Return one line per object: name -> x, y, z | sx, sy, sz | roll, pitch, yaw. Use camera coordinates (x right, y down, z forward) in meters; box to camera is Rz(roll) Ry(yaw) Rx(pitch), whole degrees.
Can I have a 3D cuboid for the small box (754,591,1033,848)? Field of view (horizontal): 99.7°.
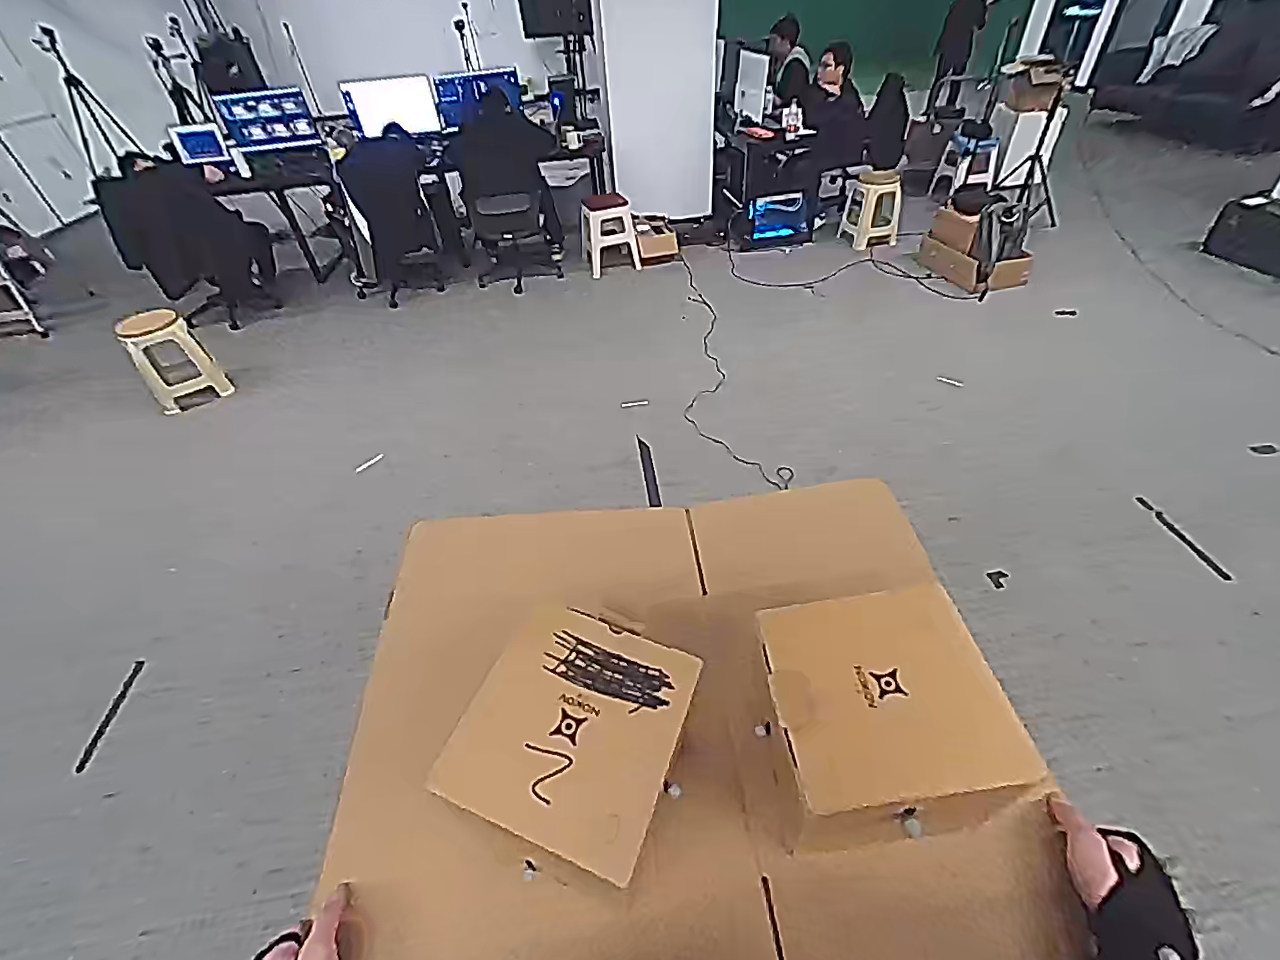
small box -> 0.212, 0.230, 0.515 | 0.179, 0.176, 0.168 | -10, 46, 2
